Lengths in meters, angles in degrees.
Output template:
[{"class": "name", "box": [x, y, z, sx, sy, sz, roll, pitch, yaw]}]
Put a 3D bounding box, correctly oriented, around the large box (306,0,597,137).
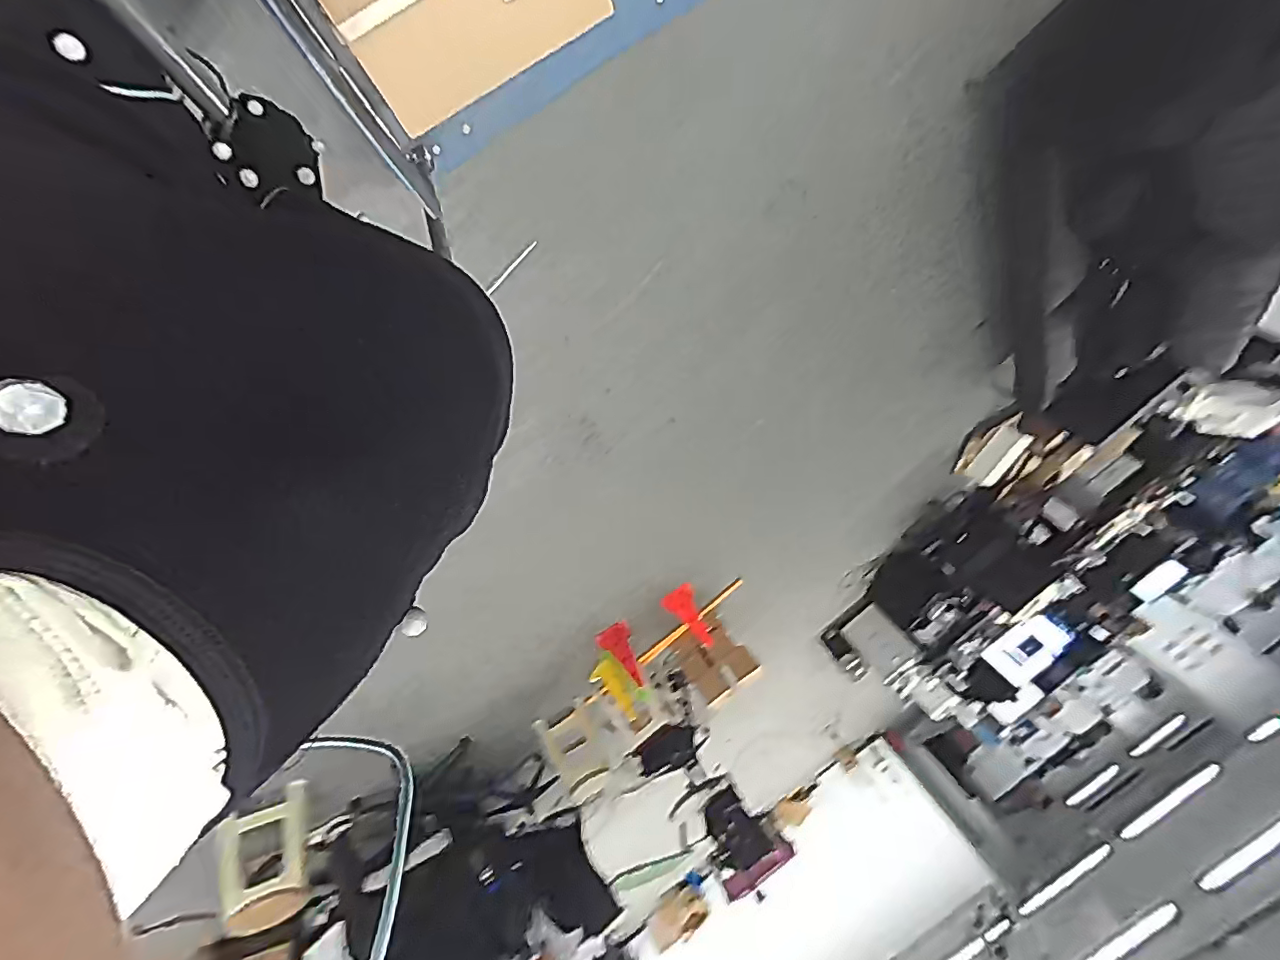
[{"class": "large box", "box": [-0.350, -0.858, 0.891, 0.408, 0.320, 0.320, -32, 140, 1]}]
